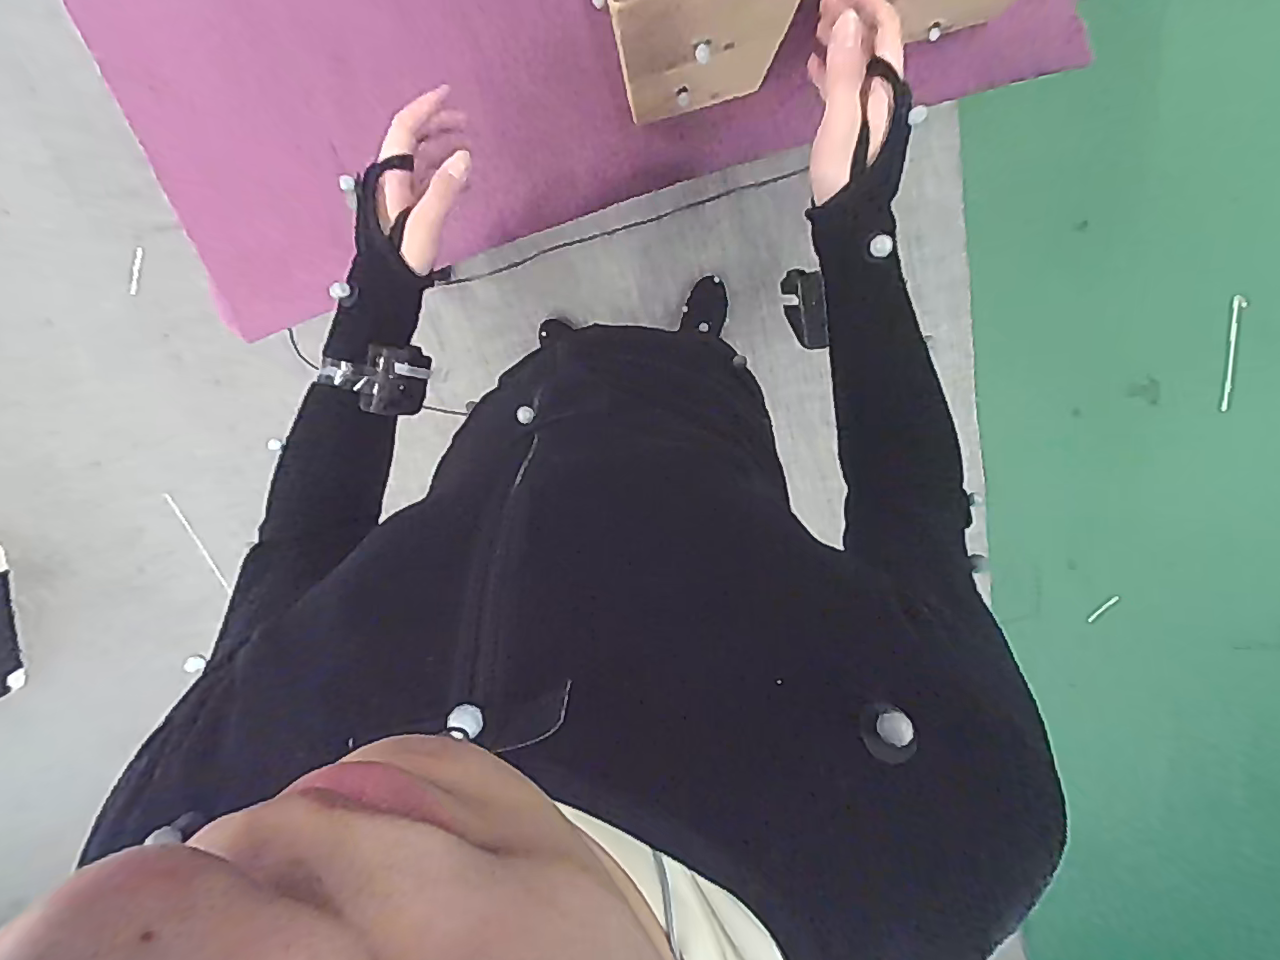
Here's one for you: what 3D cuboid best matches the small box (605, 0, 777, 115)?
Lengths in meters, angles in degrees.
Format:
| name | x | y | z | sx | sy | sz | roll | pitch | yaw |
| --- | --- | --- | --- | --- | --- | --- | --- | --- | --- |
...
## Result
| name | x | y | z | sx | sy | sz | roll | pitch | yaw |
| --- | --- | --- | --- | --- | --- | --- | --- | --- | --- |
| small box | 0.047 | -0.538 | 0.603 | 0.168 | 0.176 | 0.179 | -12 | 108 | 8 |

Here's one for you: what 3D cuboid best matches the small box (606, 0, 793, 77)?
| name | x | y | z | sx | sy | sz | roll | pitch | yaw |
| --- | --- | --- | --- | --- | --- | --- | --- | --- | --- |
| small box | 0.039 | -0.483 | 0.448 | 0.168 | 0.176 | 0.179 | -12 | 109 | 8 |
